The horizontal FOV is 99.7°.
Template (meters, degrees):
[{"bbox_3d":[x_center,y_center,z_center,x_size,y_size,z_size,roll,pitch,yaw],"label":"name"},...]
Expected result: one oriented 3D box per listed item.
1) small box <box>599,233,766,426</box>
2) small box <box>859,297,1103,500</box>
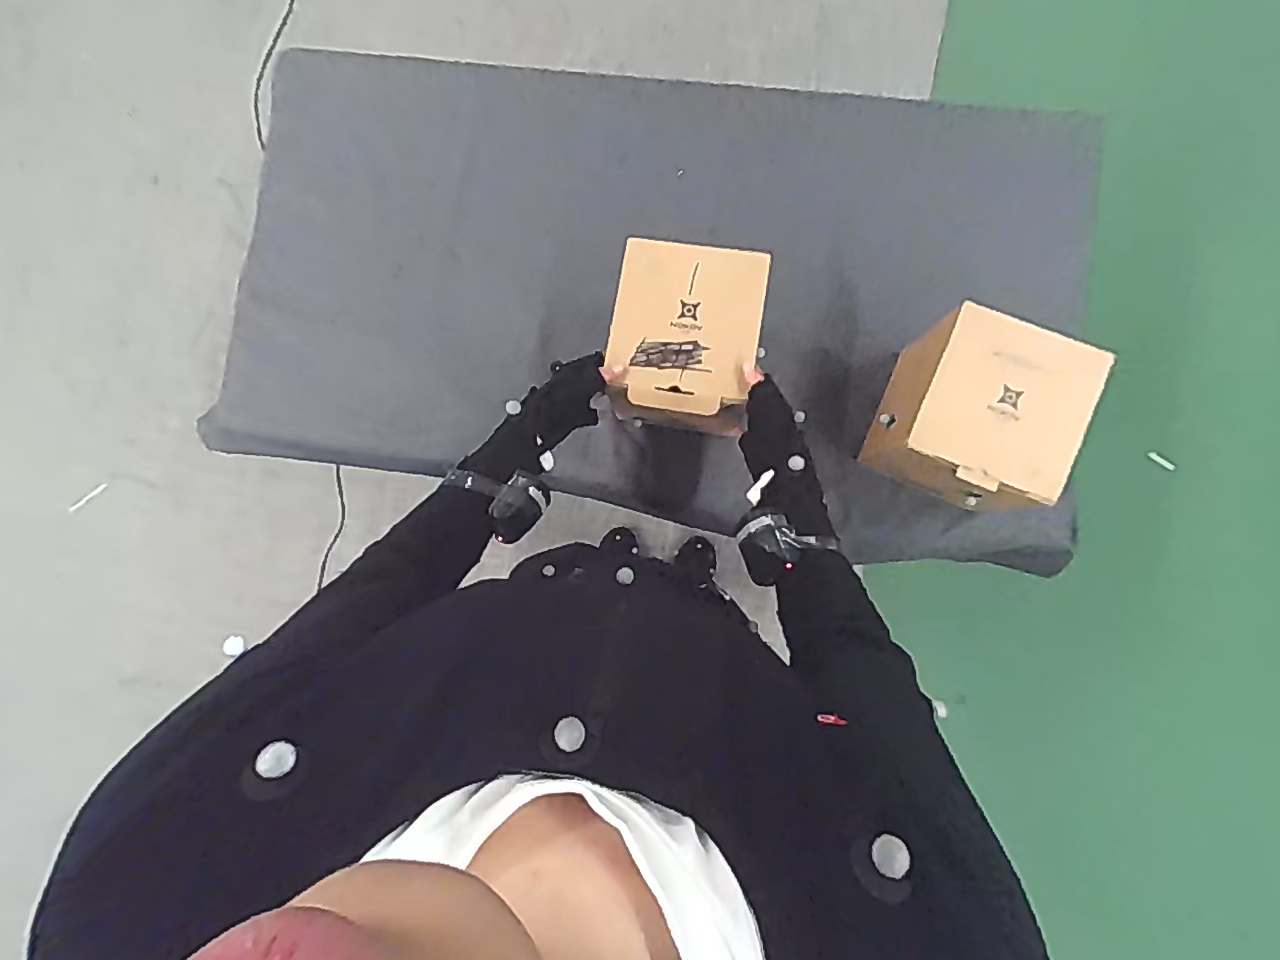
[{"bbox_3d":[0.054,-0.175,0.678,0.168,0.176,0.179,9,82,5],"label":"small box"},{"bbox_3d":[0.391,-0.083,0.657,0.168,0.176,0.179,23,86,4],"label":"small box"}]
